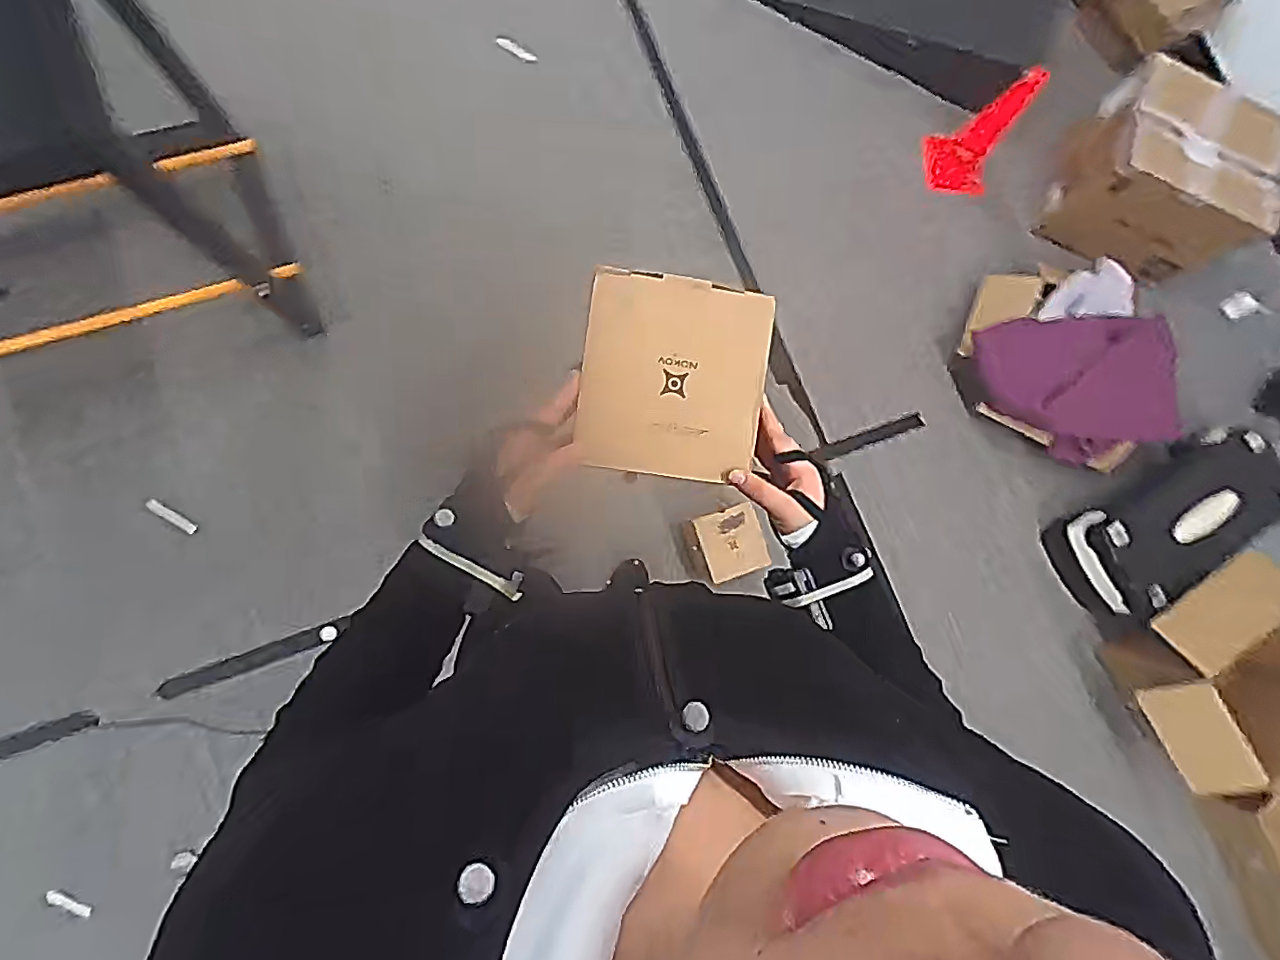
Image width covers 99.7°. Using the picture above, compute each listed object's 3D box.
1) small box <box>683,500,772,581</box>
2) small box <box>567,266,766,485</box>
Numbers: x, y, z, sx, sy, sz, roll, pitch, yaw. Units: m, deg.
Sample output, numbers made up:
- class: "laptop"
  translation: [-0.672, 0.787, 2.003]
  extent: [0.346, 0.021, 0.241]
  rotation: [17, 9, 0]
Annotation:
- class: "small box"
  translation: [0.230, 0.166, 1.472]
  extent: [0.168, 0.176, 0.179]
  rotation: [-17, 86, -9]
- class: "small box"
  translation: [0.015, -0.096, 0.558]
  extent: [0.168, 0.176, 0.179]
  rotation: [6, 94, -7]
